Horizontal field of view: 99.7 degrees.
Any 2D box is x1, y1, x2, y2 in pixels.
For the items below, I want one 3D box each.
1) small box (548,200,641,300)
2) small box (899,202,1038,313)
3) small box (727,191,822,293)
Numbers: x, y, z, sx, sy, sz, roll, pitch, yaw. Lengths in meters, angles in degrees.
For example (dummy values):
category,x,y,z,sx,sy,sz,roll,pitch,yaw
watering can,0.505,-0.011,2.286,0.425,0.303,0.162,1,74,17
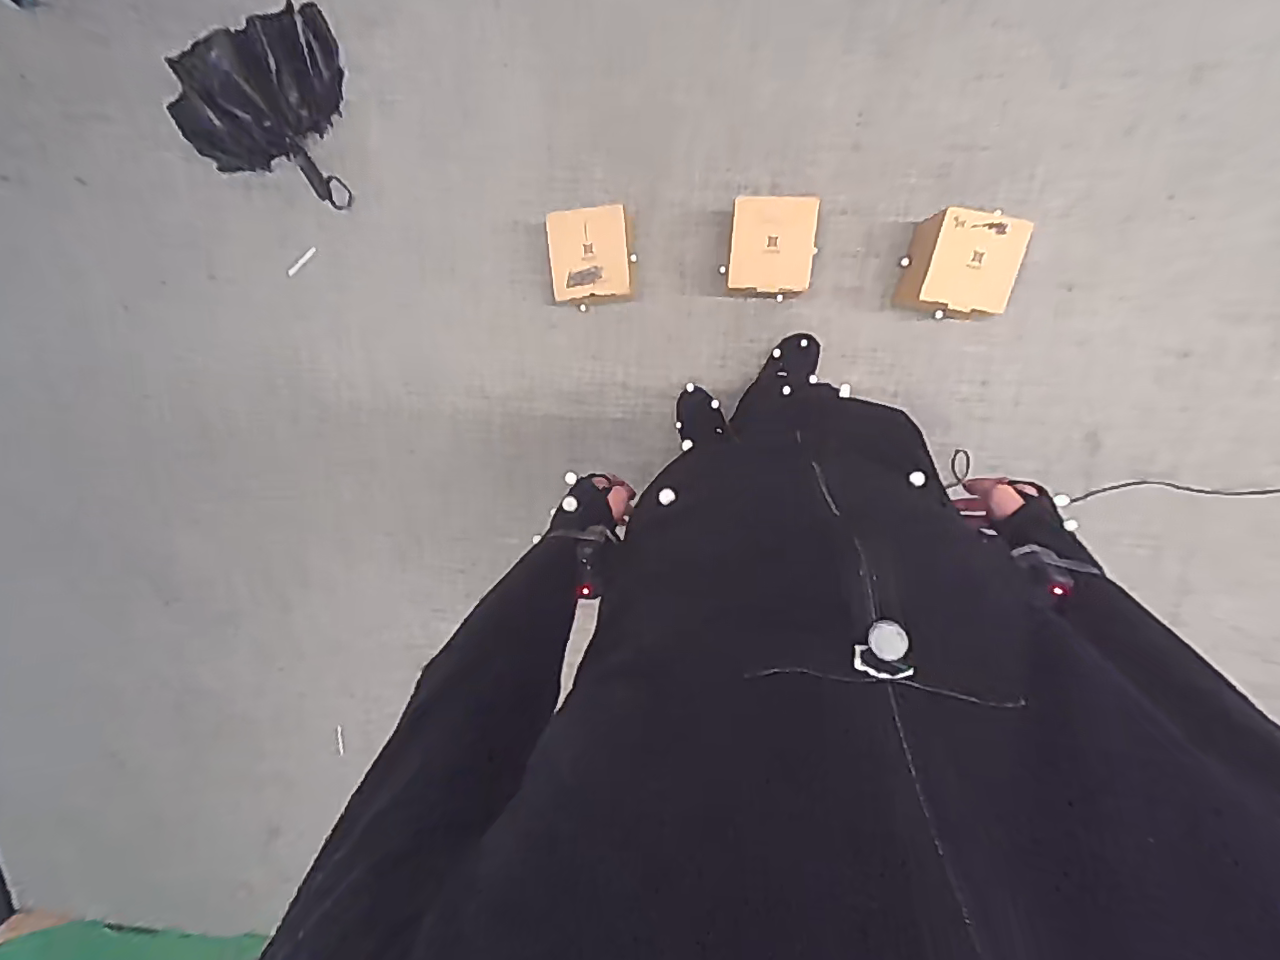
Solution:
category,x,y,z,sx,sy,sz,roll,pitch,yaw
small box,-0.092,-0.497,1.194,0.168,0.176,0.179,-3,103,7
small box,0.662,-0.449,1.118,0.168,0.176,0.179,13,107,4
small box,0.277,-0.498,1.153,0.168,0.176,0.179,4,104,5
